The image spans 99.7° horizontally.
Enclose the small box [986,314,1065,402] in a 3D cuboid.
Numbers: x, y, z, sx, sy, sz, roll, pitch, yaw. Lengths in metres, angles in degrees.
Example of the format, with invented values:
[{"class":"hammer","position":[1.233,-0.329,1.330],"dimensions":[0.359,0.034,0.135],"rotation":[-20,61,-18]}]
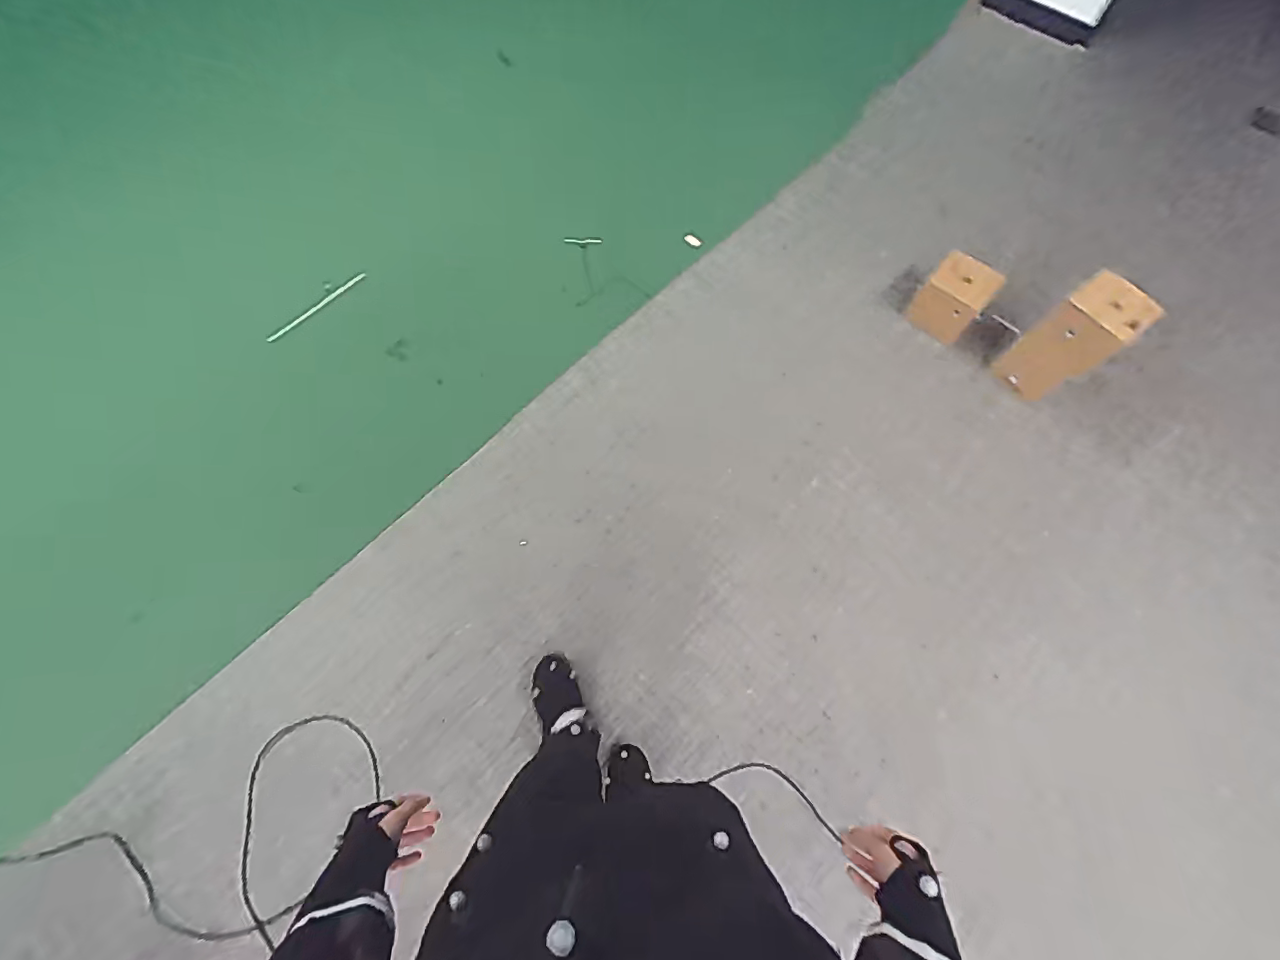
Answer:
[{"class":"small box","position":[1.166,-0.365,1.581],"dimensions":[0.179,0.176,0.168],"rotation":[-36,72,-12]}]

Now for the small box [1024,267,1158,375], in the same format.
[{"class":"small box","position":[1.171,-0.413,1.422],"dimensions":[0.168,0.176,0.179],"rotation":[-36,71,-12]}]

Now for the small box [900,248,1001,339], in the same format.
[{"class":"small box","position":[0.947,-0.563,1.661],"dimensions":[0.179,0.176,0.168],"rotation":[40,74,16]}]
